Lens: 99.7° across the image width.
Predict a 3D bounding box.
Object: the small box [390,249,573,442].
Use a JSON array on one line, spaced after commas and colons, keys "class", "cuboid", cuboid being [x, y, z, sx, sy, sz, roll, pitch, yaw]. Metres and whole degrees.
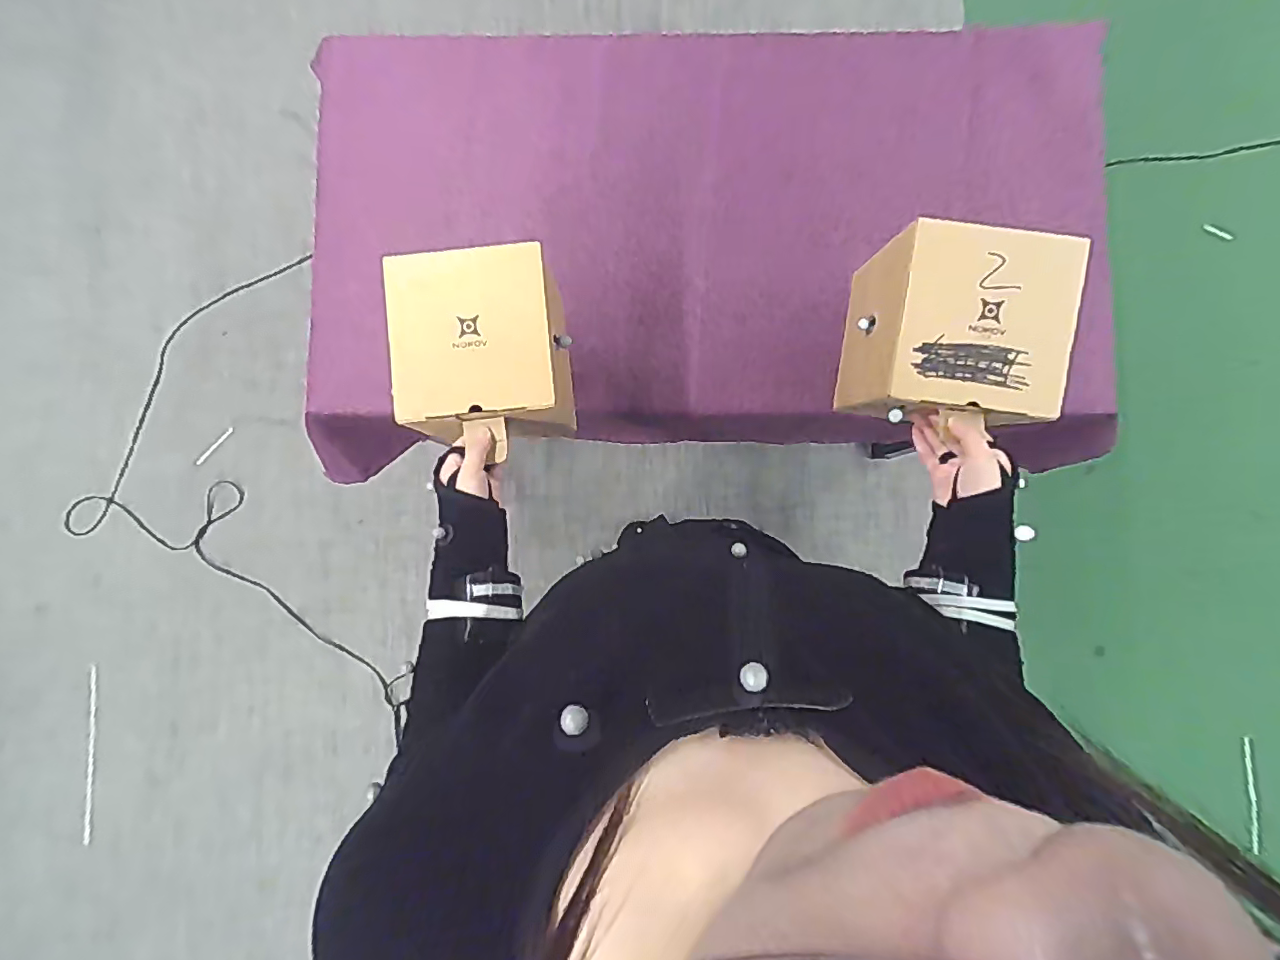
[{"class": "small box", "cuboid": [-0.178, -0.148, 0.649, 0.168, 0.176, 0.179, -6, 87, 0]}]
